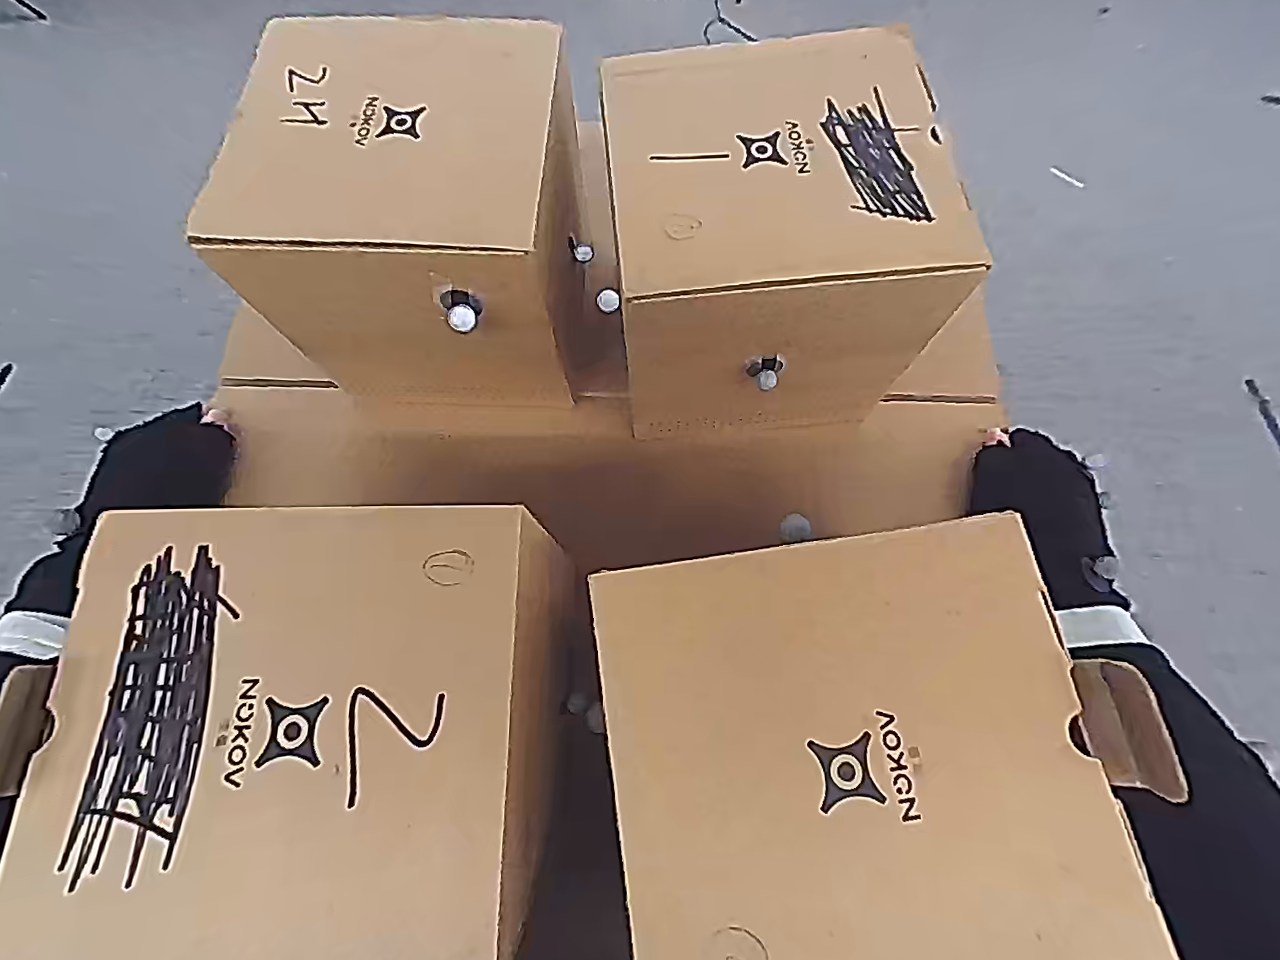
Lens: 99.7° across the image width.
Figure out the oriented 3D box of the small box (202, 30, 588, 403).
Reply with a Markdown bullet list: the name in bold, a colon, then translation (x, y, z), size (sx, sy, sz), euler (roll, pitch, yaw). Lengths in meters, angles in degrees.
- **small box**: translation (-0.135, -0.164, 0.378), size (0.179, 0.176, 0.168), euler (3, 70, 2)

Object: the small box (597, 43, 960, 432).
- **small box**: translation (0.069, -0.143, 0.365), size (0.179, 0.176, 0.168), euler (-5, 71, 1)
